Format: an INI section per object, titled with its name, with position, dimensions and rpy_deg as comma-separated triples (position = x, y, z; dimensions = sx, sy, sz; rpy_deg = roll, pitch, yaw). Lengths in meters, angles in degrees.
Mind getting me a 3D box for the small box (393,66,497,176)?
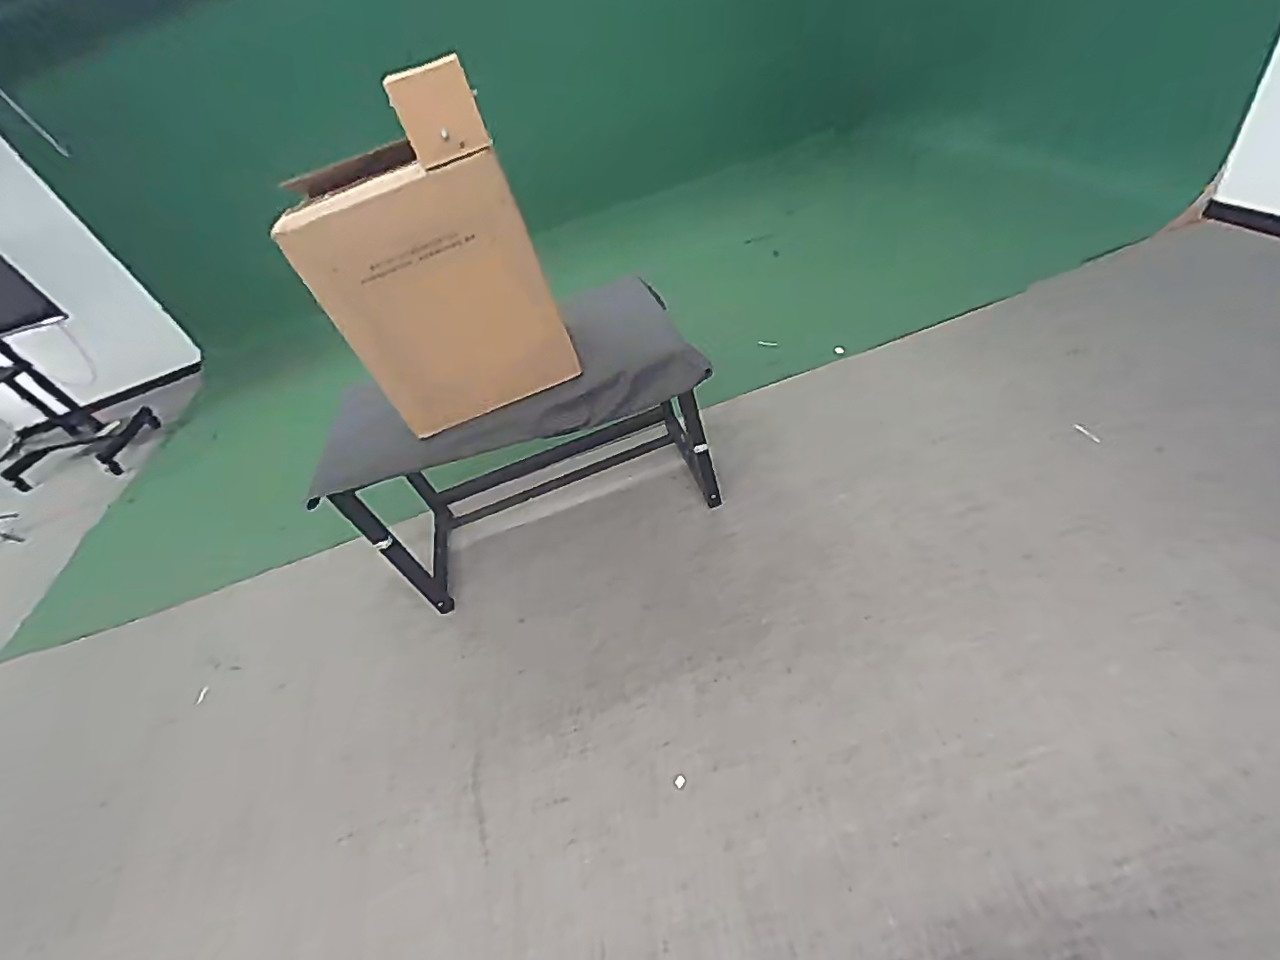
[small box]
position = -0.443, -0.824, 1.245
dimensions = 0.168, 0.176, 0.179
rpy_deg = -22, 43, -2
